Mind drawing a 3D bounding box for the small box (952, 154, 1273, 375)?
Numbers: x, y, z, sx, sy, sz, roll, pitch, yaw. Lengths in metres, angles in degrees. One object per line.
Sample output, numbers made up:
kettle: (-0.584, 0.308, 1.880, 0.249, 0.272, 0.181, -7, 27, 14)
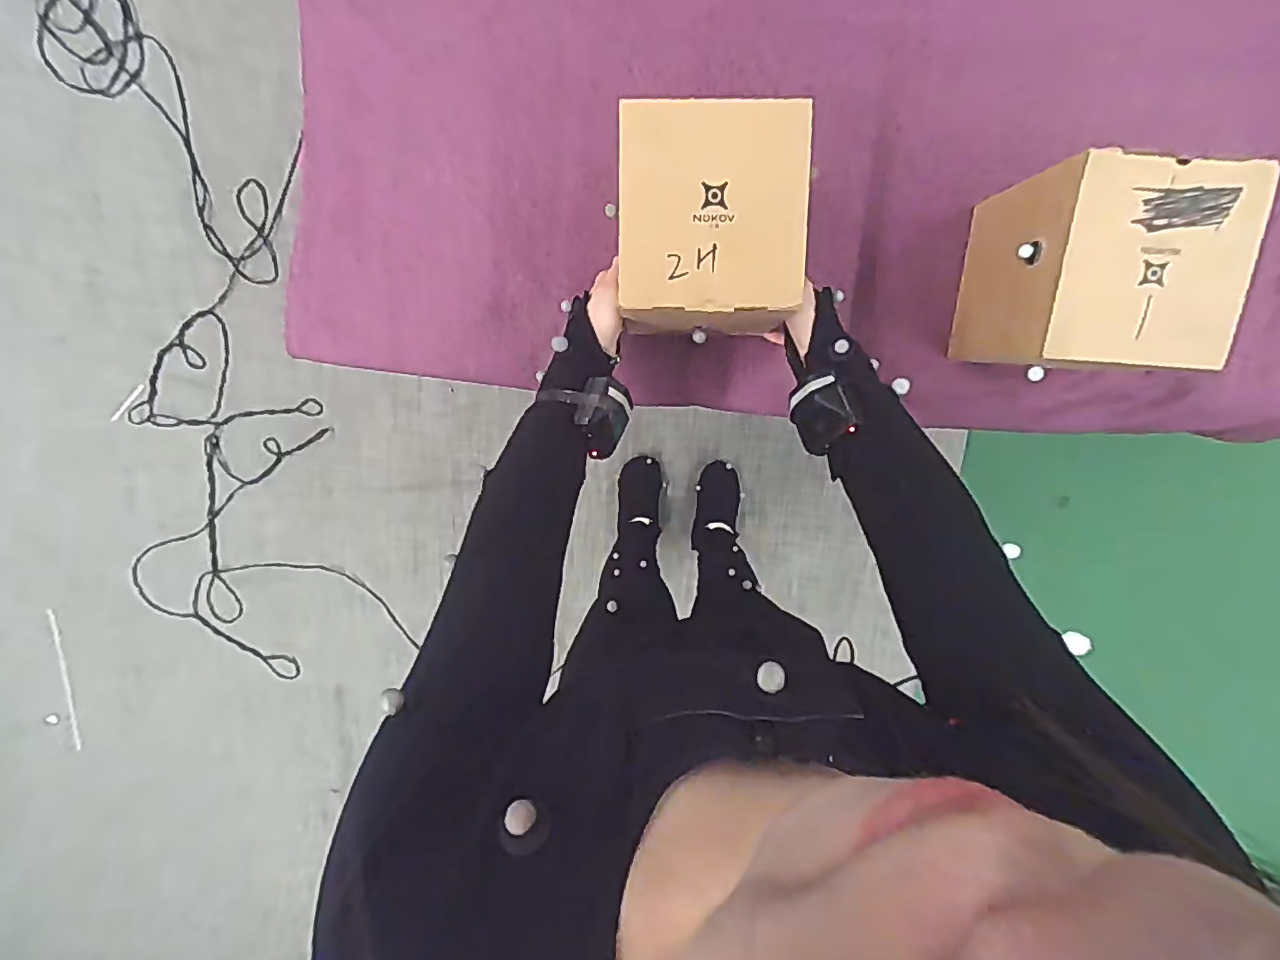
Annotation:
small box: (0.454, -0.202, 0.555, 0.168, 0.176, 0.179, 4, 102, 1)

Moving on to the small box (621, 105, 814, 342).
small box: (0.068, -0.243, 0.551, 0.168, 0.176, 0.179, 1, 98, 2)
